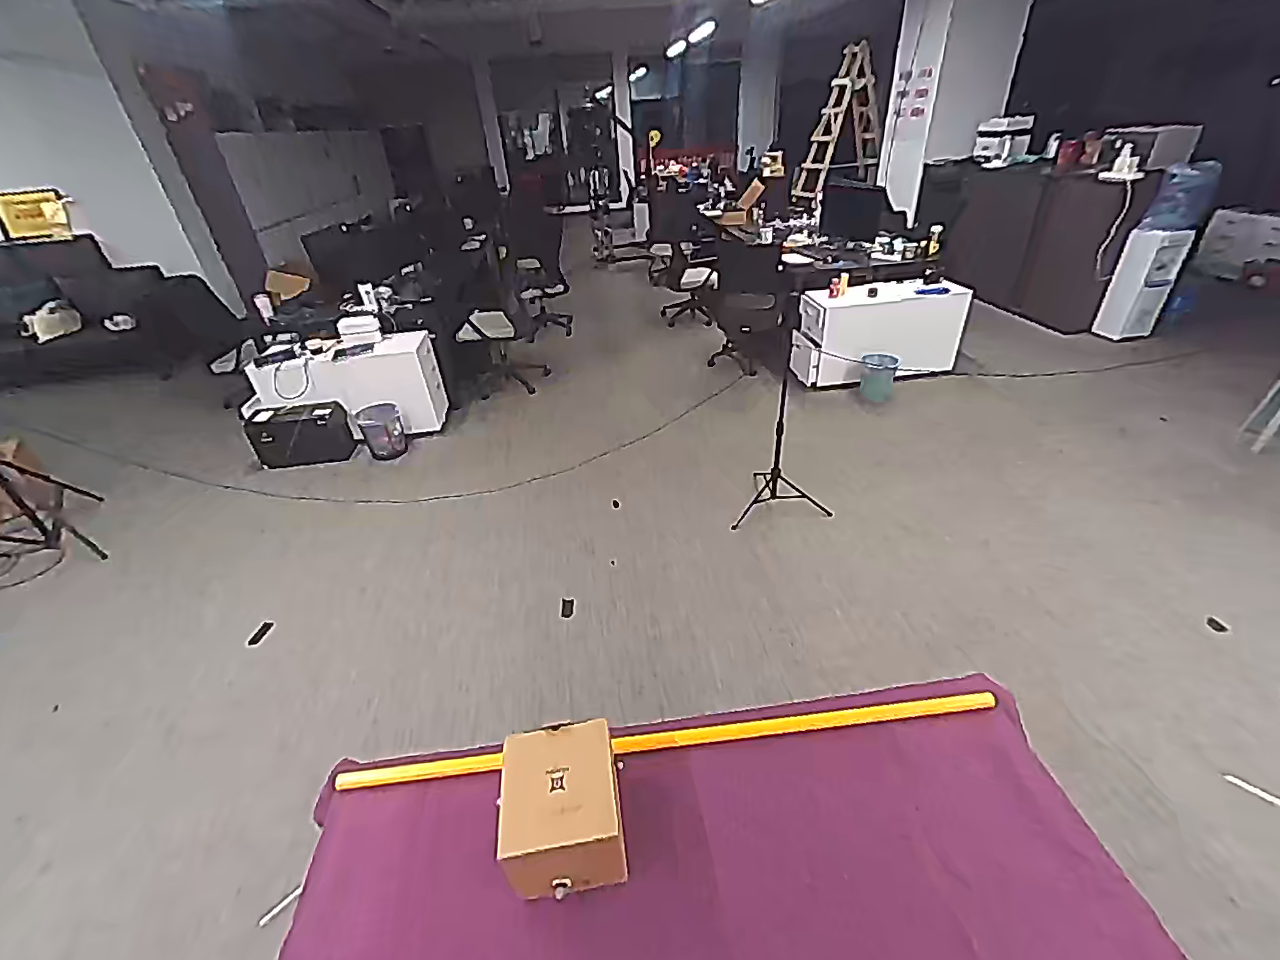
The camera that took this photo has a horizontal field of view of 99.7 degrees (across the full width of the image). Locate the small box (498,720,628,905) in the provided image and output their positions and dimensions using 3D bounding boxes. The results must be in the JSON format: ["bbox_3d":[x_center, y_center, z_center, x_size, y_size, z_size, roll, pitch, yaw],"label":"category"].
[{"bbox_3d":[-0.113,0.507,0.832,0.168,0.176,0.179,-8,35,-5],"label":"small box"}]
